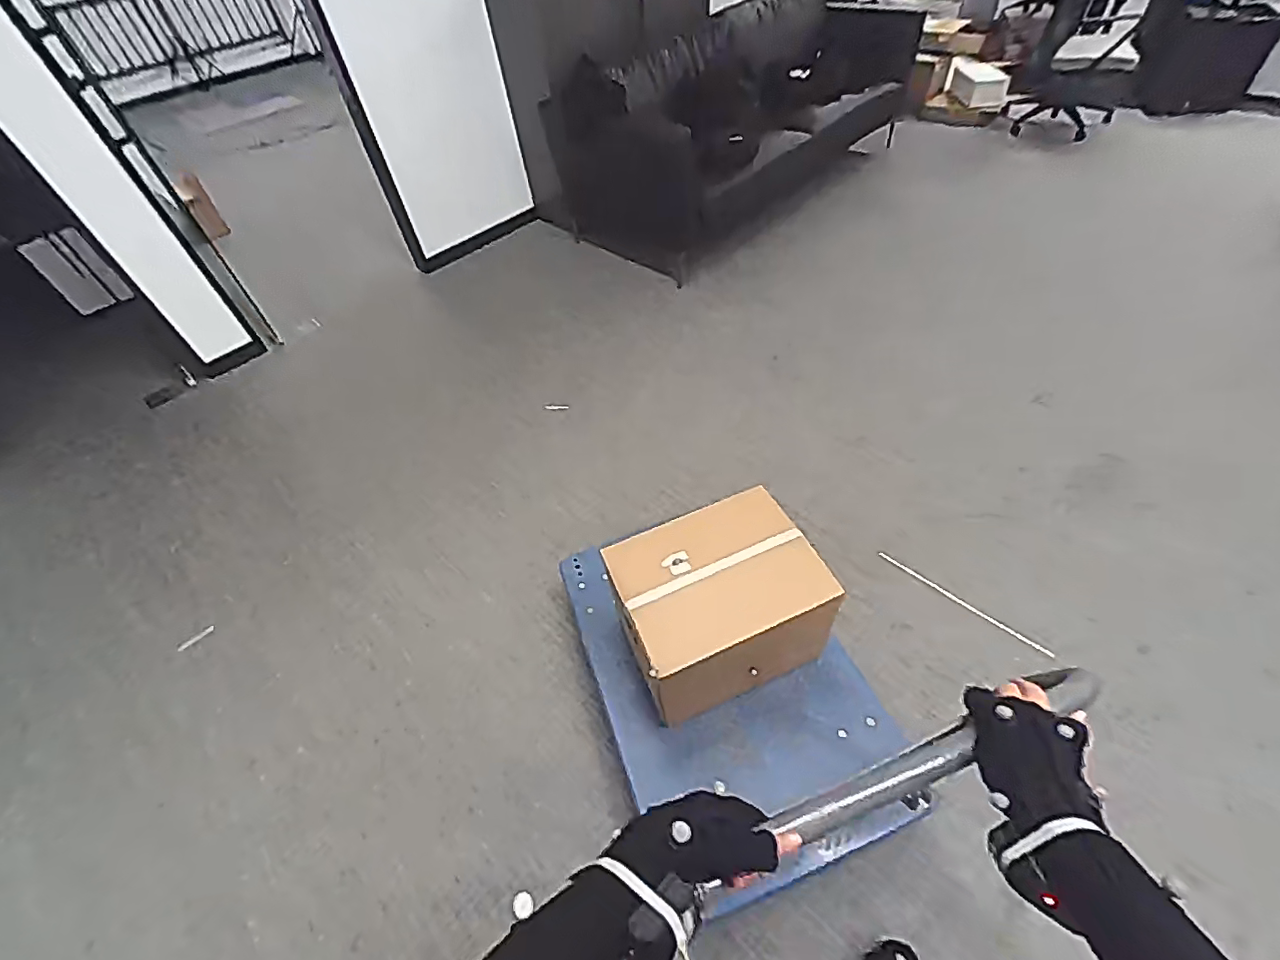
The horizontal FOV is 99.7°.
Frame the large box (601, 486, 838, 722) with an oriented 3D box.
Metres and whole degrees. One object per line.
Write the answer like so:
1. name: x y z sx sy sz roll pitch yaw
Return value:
1. large box: 0.169 0.282 1.230 0.408 0.320 0.320 -22 51 -11
